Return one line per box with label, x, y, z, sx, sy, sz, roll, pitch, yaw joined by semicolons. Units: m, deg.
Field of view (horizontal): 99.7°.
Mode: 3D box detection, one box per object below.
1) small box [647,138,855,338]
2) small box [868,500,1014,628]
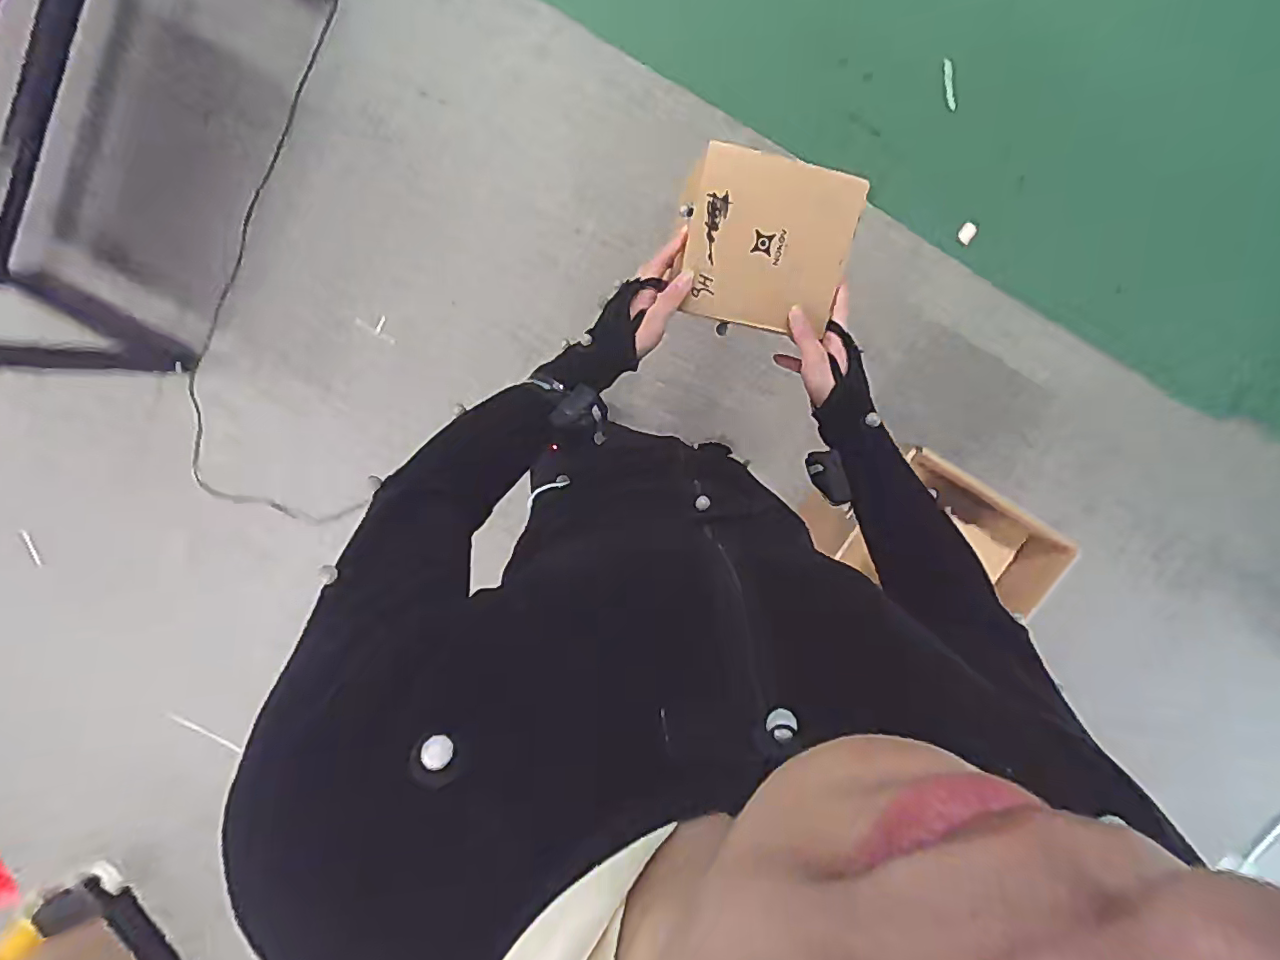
small box;0.115;-0.272;0.641;0.179;0.176;0.168;9;106;-8
small box;0.605;0.163;1.119;0.168;0.176;0.179;31;102;-2
